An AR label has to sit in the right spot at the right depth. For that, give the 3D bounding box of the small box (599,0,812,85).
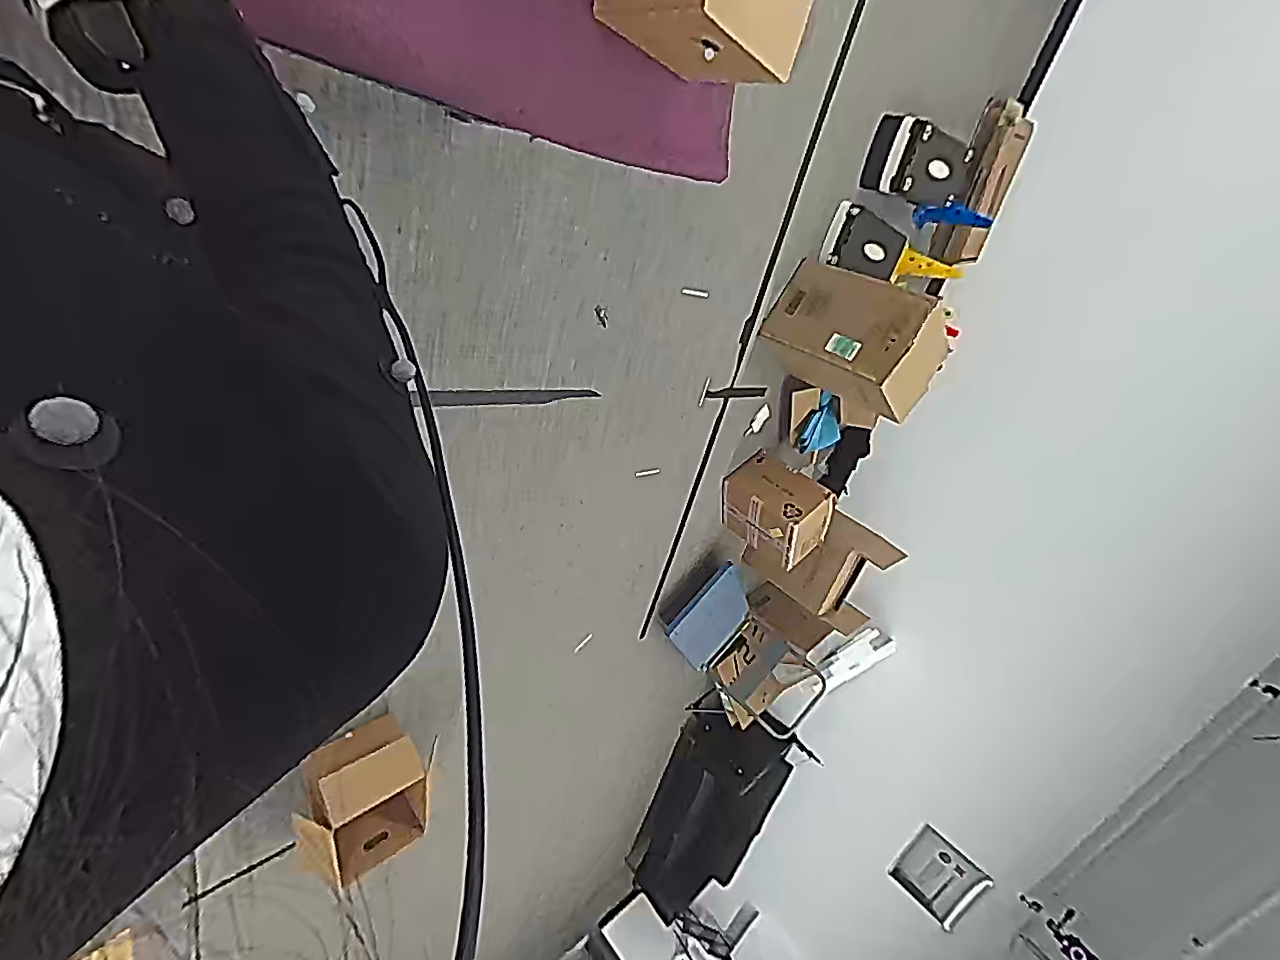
[{"bbox_3d":[0.080,-0.568,0.600,0.179,0.176,0.168,-9,124,-47],"label":"small box"}]
